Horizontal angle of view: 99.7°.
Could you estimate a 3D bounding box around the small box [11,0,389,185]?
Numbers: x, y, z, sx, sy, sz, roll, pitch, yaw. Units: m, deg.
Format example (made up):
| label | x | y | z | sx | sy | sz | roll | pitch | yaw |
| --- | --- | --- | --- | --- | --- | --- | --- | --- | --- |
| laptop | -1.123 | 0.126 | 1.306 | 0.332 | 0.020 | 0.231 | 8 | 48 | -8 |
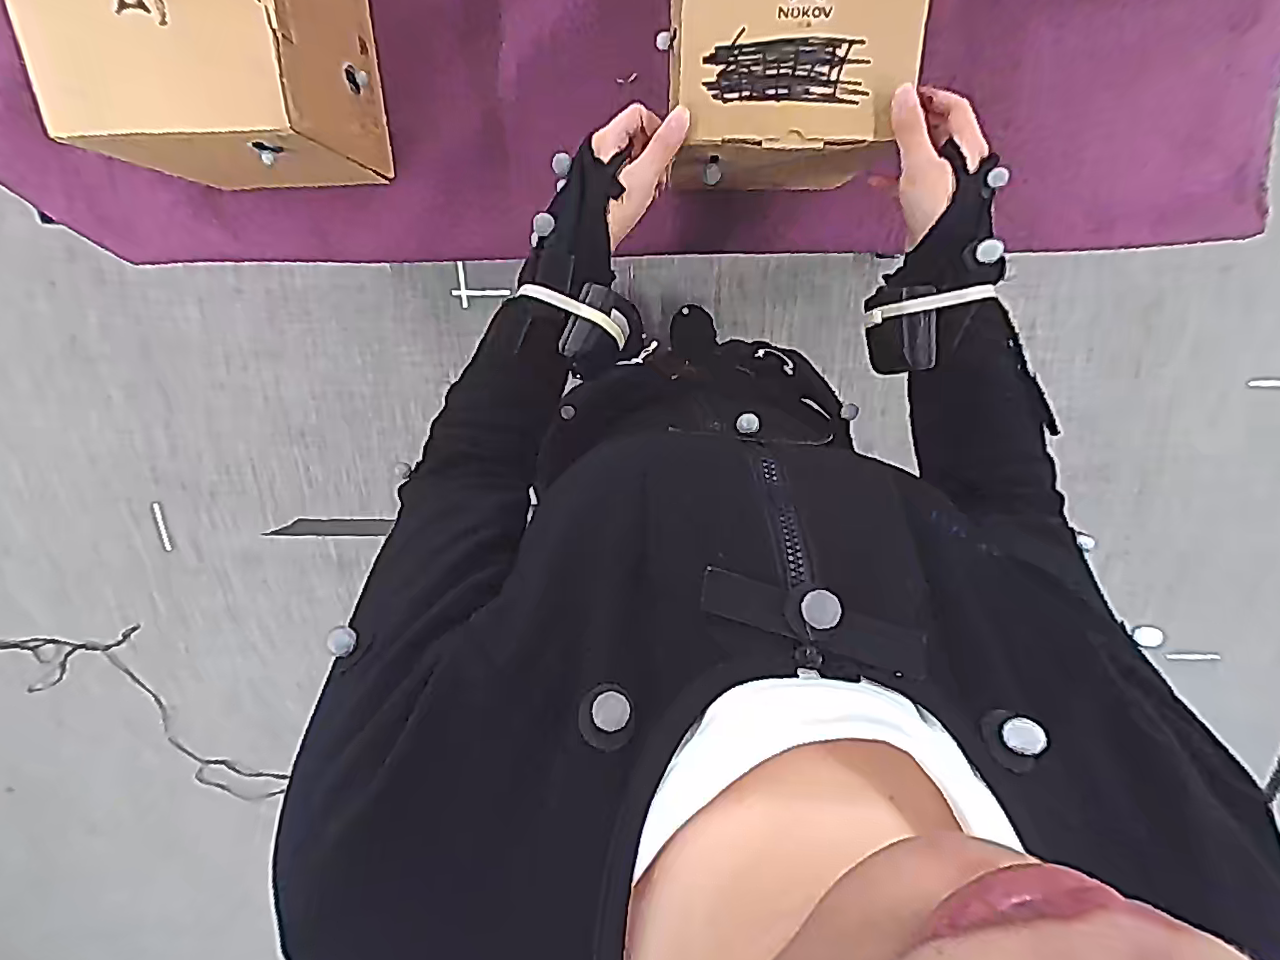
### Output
| label | x | y | z | sx | sy | sz | roll | pitch | yaw |
| --- | --- | --- | --- | --- | --- | --- | --- | --- | --- |
| small box | -0.335 | -0.348 | 0.436 | 0.179 | 0.176 | 0.168 | -3 | 108 | 0 |
